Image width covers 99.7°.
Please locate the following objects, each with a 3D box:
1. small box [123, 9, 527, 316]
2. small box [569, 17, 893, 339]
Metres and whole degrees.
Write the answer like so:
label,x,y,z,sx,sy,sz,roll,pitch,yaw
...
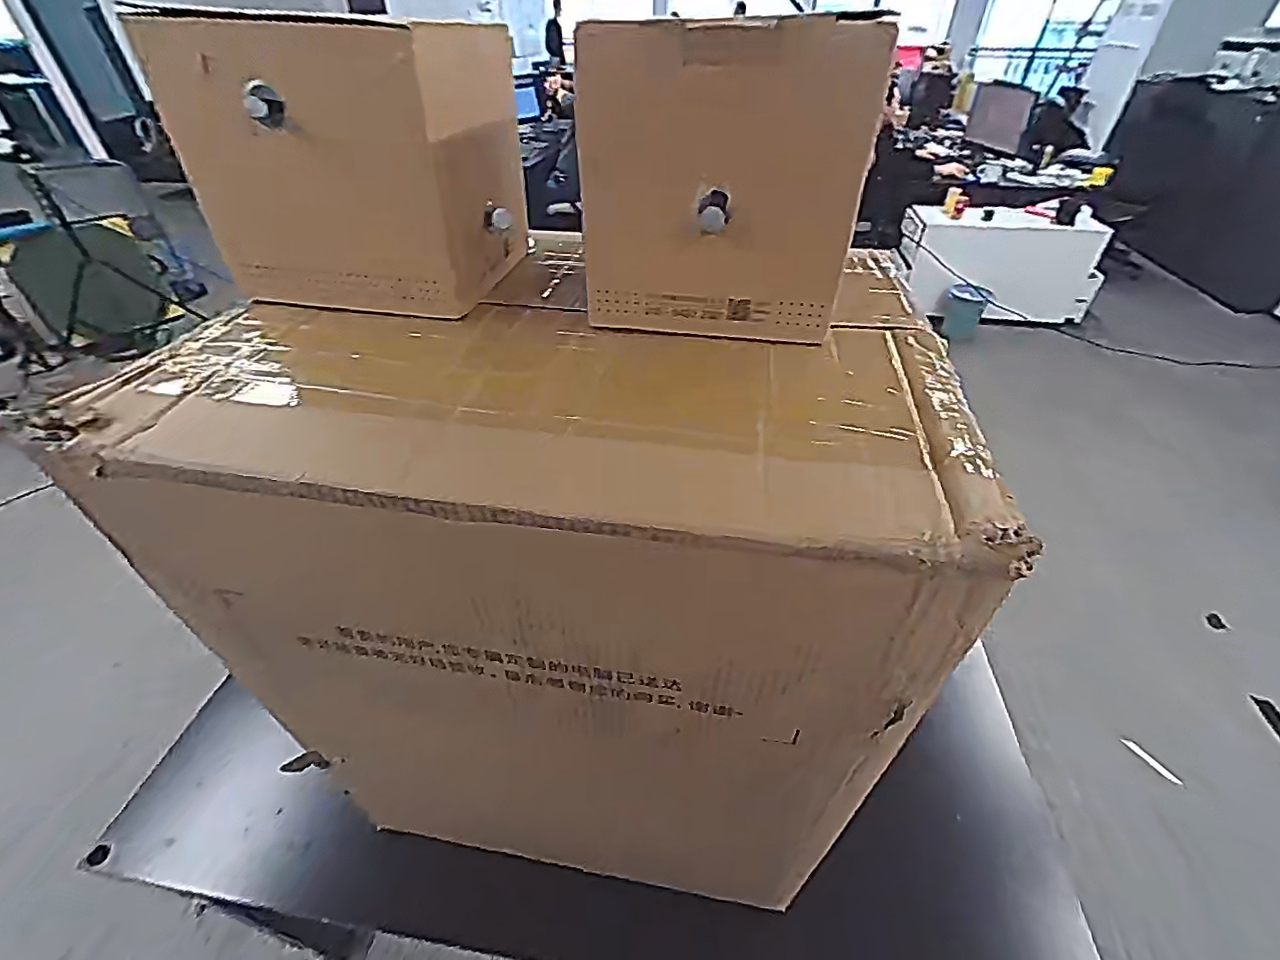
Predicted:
label,x,y,z,sx,sy,sz,roll,pitch,yaw
small box,-0.198,-0.235,0.406,0.179,0.176,0.168,7,40,5
small box,0.059,-0.212,0.383,0.168,0.176,0.179,6,40,8
